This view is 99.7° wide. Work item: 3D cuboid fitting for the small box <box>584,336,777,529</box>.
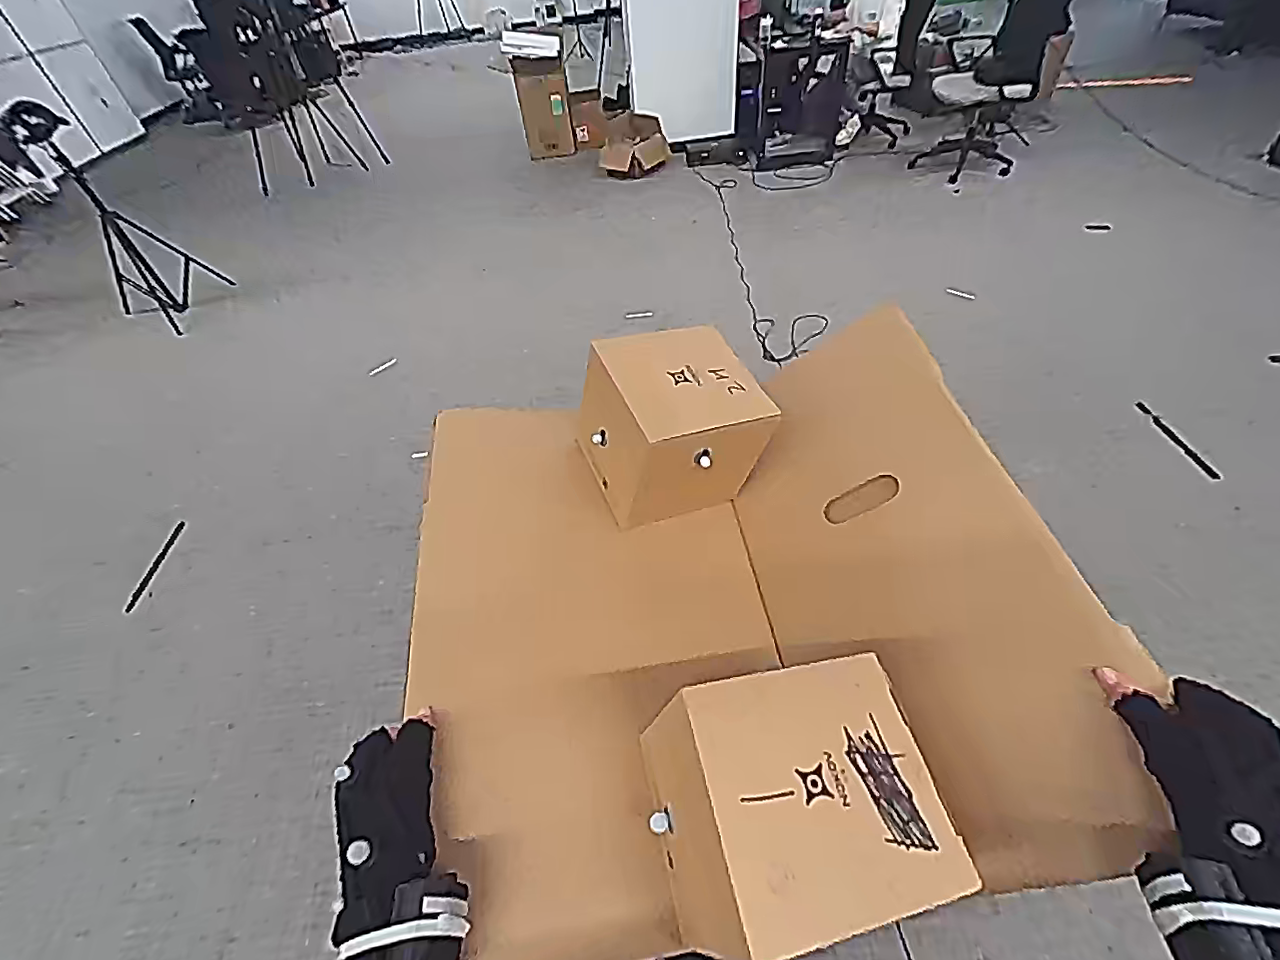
[{"bbox_3d":[0.036,-0.059,0.691,0.179,0.176,0.168,-13,57,-24],"label":"small box"}]
